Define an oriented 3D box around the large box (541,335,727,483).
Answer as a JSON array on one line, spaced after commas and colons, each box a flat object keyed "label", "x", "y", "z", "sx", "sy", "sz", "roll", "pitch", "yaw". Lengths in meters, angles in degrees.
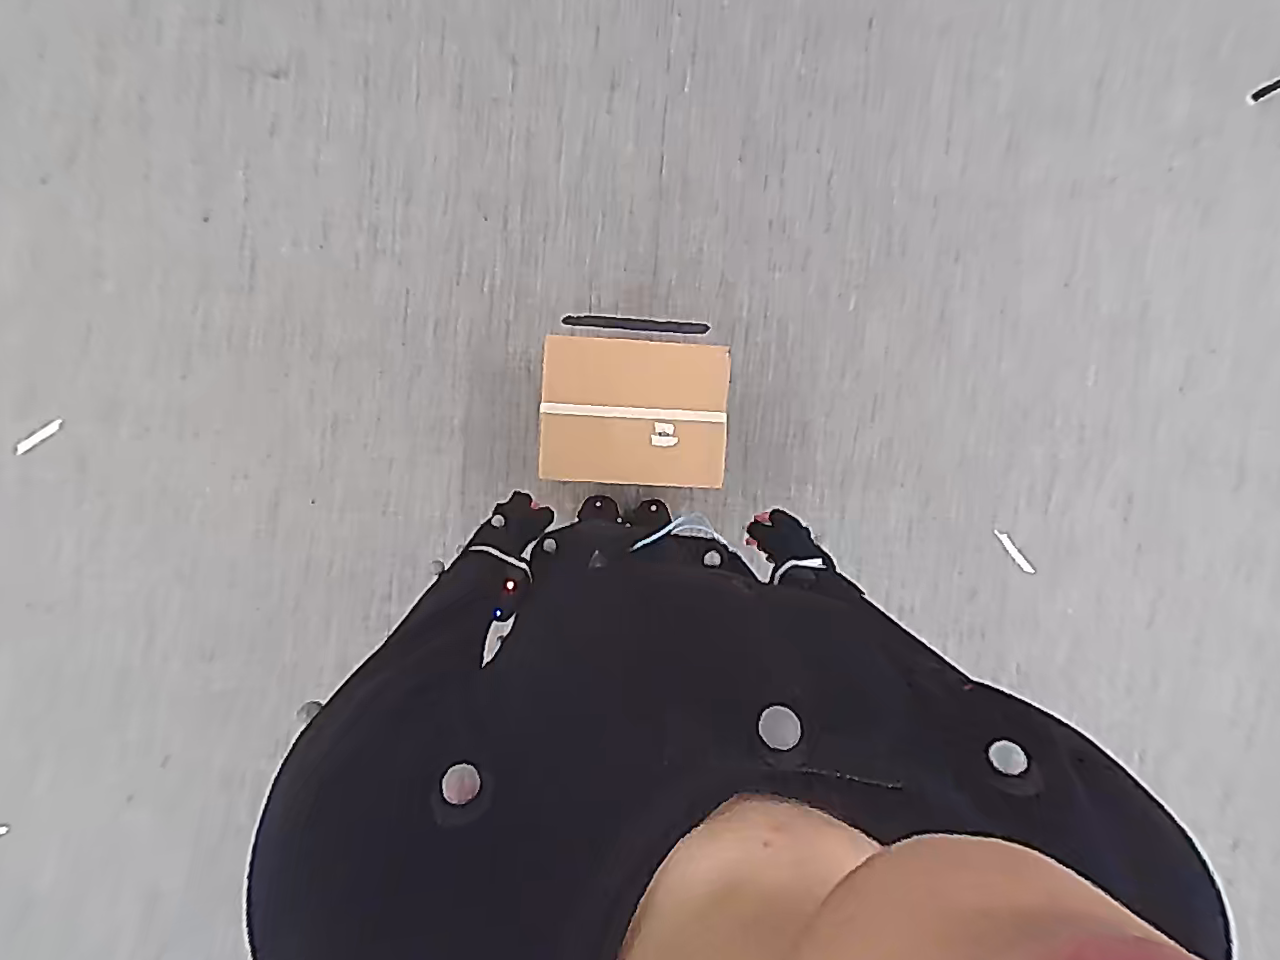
[{"label": "large box", "x": -0.025, "y": -0.156, "z": 1.332, "sx": 0.408, "sy": 0.320, "sz": 0.320, "roll": 3, "pitch": 92, "yaw": -4}]
